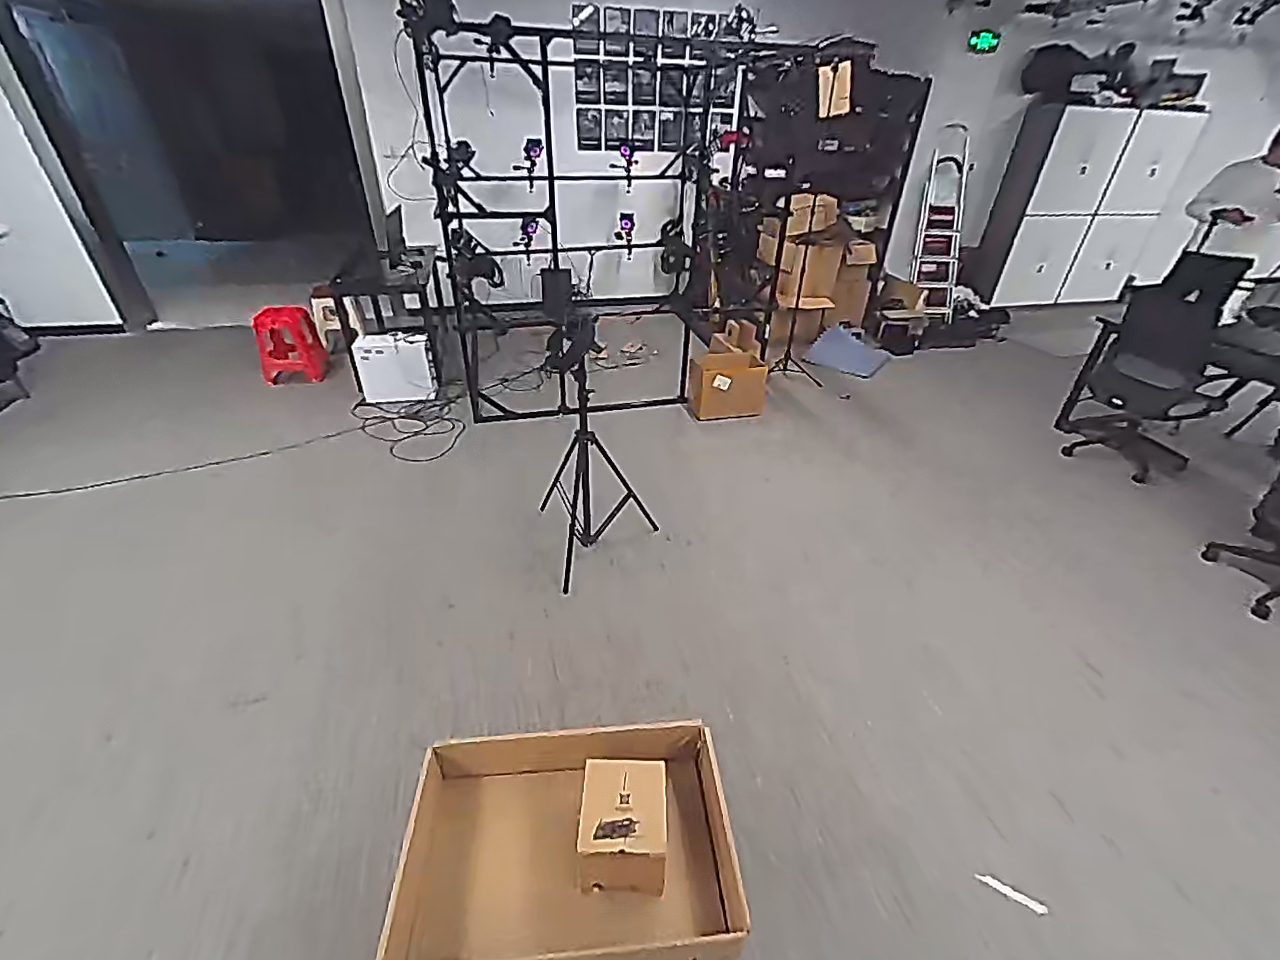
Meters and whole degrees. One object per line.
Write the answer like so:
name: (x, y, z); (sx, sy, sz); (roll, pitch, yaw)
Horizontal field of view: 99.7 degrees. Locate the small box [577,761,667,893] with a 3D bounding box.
small box: (-0.030, 0.697, 1.085); (0.168, 0.176, 0.179); (1, 33, 1)
